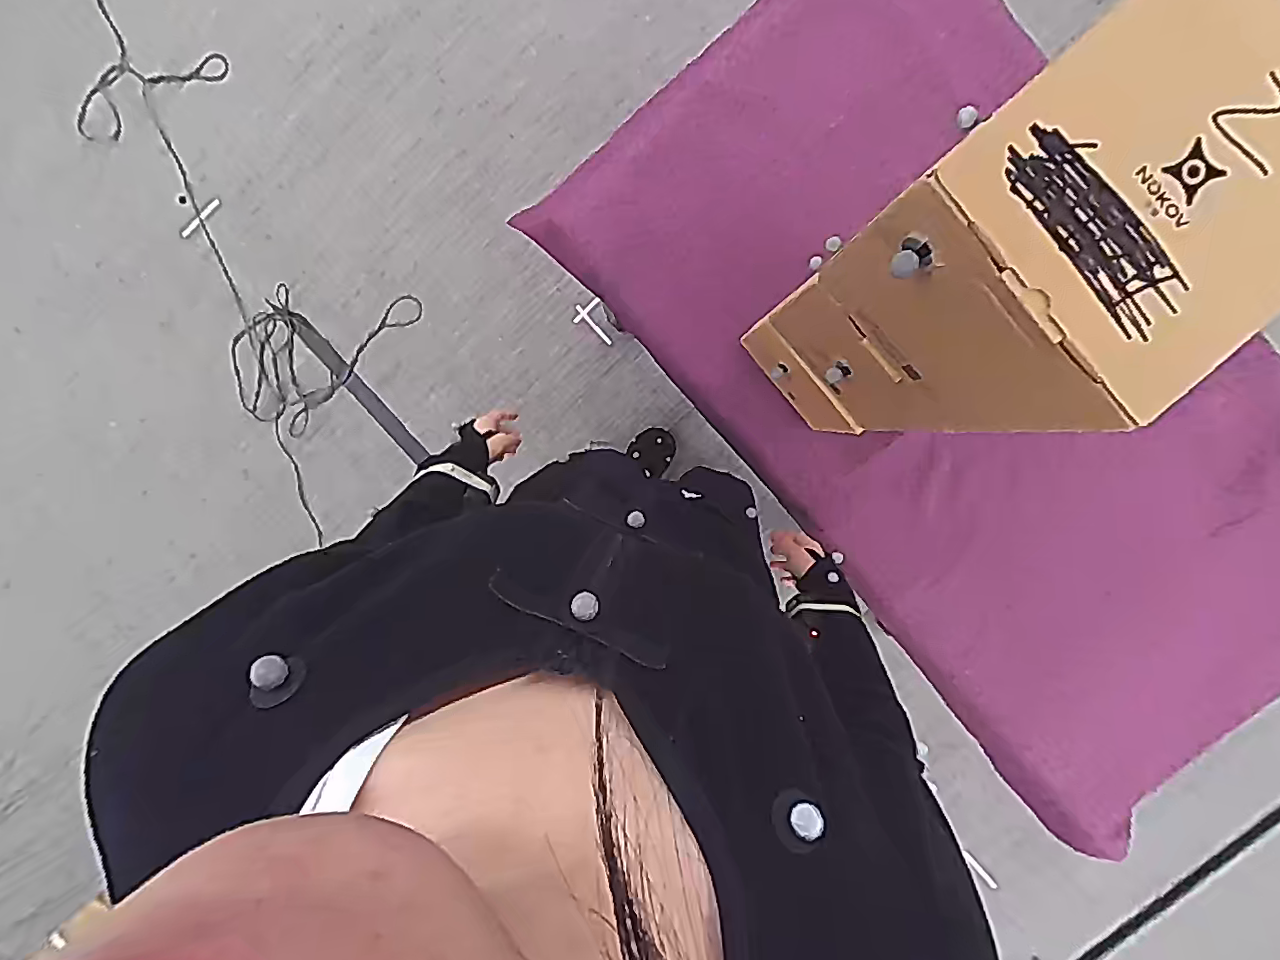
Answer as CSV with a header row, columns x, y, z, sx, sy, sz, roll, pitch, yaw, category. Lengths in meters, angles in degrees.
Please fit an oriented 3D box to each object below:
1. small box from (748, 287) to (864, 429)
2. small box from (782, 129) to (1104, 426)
x,y,z,sx,sy,sz,roll,pitch,yaw,category
0.253,-0.178,0.675,0.179,0.176,0.168,-40,95,3,small box
0.256,-0.167,0.512,0.179,0.176,0.168,-42,95,4,small box
